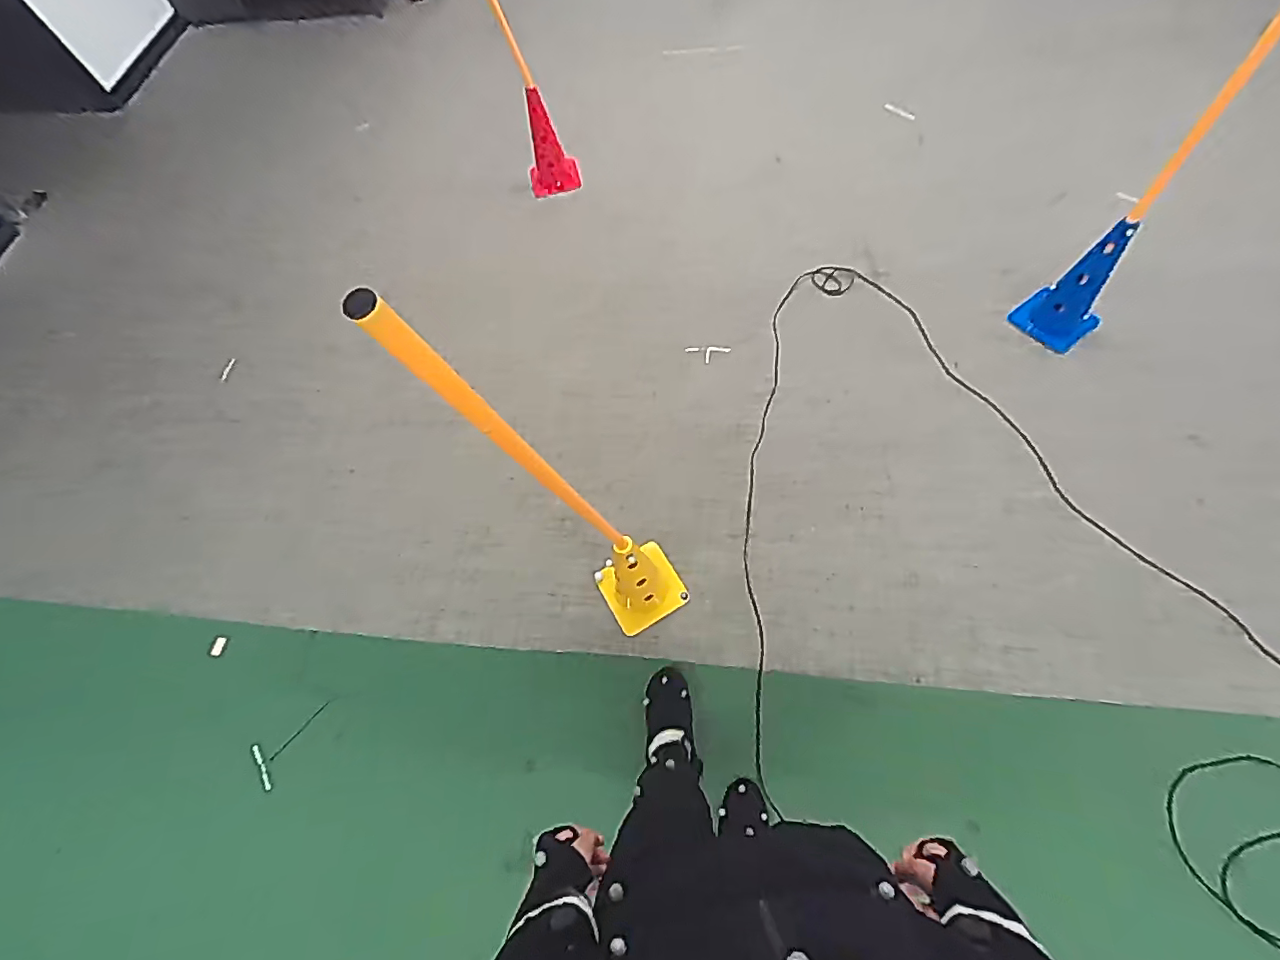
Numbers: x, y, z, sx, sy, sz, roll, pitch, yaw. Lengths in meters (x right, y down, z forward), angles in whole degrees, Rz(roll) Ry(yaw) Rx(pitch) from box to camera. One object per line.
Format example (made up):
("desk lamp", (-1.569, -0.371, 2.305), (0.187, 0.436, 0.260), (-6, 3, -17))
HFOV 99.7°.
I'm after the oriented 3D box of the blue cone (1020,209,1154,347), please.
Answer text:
("blue cone", (1.265, -0.578, 1.505), (0.193, 0.380, 0.192), (-37, 65, -13))
